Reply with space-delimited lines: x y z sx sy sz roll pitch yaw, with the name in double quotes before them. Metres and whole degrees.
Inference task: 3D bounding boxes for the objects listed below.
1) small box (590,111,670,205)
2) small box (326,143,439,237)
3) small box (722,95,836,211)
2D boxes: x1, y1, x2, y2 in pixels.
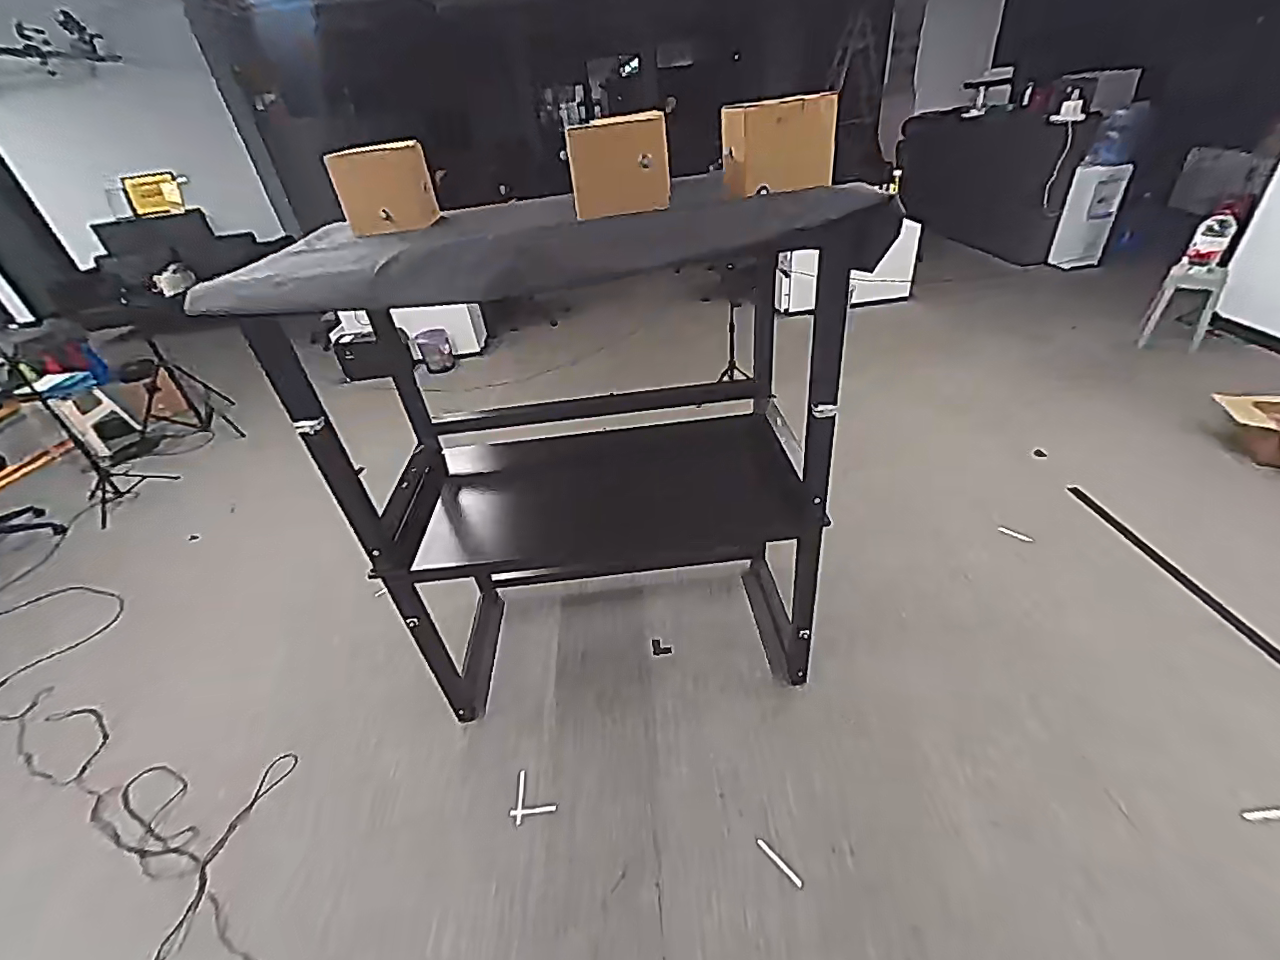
"small box" -0.023 -0.762 1.287 0.168 0.176 0.179 -8 36 0
"small box" -0.596 -0.687 1.281 0.179 0.176 0.168 -7 36 -2
"small box" 0.260 -0.624 1.037 0.168 0.176 0.179 -9 34 -1
